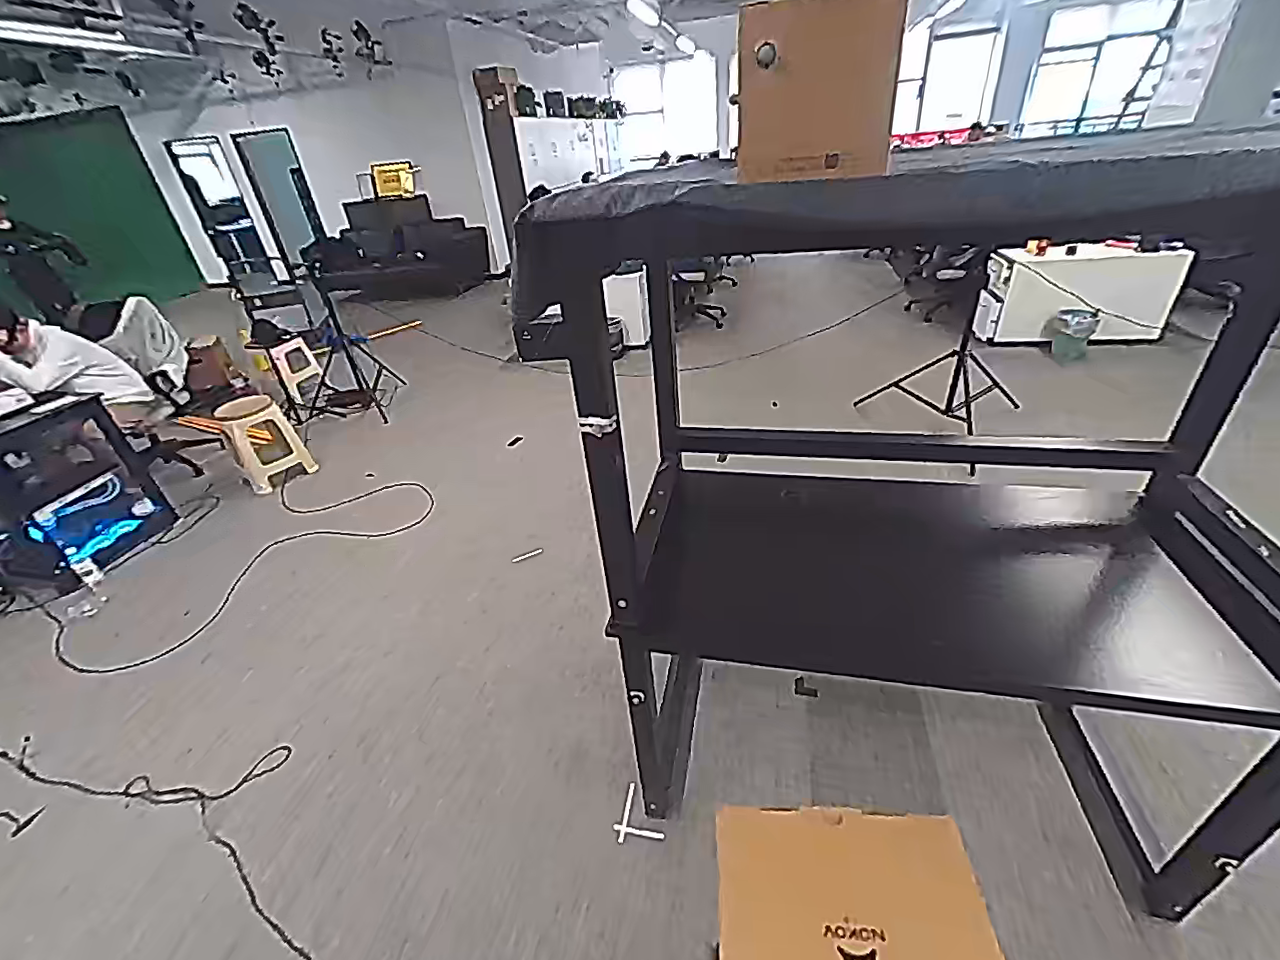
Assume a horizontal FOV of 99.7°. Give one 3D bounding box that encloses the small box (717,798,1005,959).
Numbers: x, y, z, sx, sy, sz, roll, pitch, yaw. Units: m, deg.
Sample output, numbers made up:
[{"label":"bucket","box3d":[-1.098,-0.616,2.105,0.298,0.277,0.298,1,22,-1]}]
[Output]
[{"label":"small box","box3d":[0.138,0.349,0.362,0.168,0.176,0.179,-2,31,8]}]
